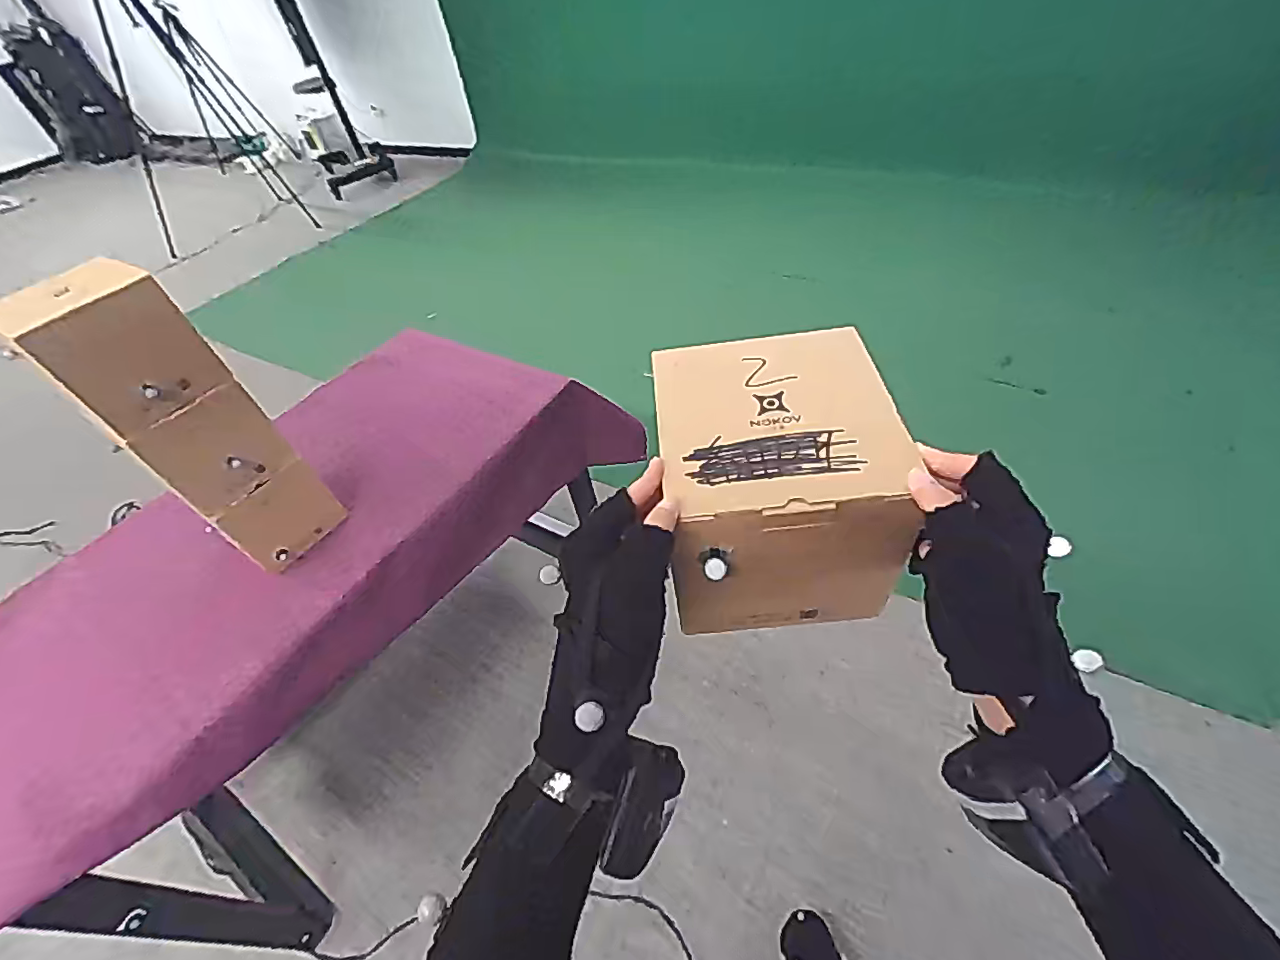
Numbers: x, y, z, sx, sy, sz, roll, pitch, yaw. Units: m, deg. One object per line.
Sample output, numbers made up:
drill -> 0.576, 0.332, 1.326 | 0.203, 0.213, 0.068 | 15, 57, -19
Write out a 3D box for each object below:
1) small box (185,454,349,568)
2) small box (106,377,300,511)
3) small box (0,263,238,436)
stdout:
small box -> -0.690, 0.039, 1.010 | 0.179, 0.176, 0.168 | 22, 54, 28
small box -> -0.719, -0.075, 0.895 | 0.179, 0.176, 0.168 | 22, 55, 27
small box -> -0.743, -0.188, 0.780 | 0.179, 0.176, 0.168 | 22, 55, 27
